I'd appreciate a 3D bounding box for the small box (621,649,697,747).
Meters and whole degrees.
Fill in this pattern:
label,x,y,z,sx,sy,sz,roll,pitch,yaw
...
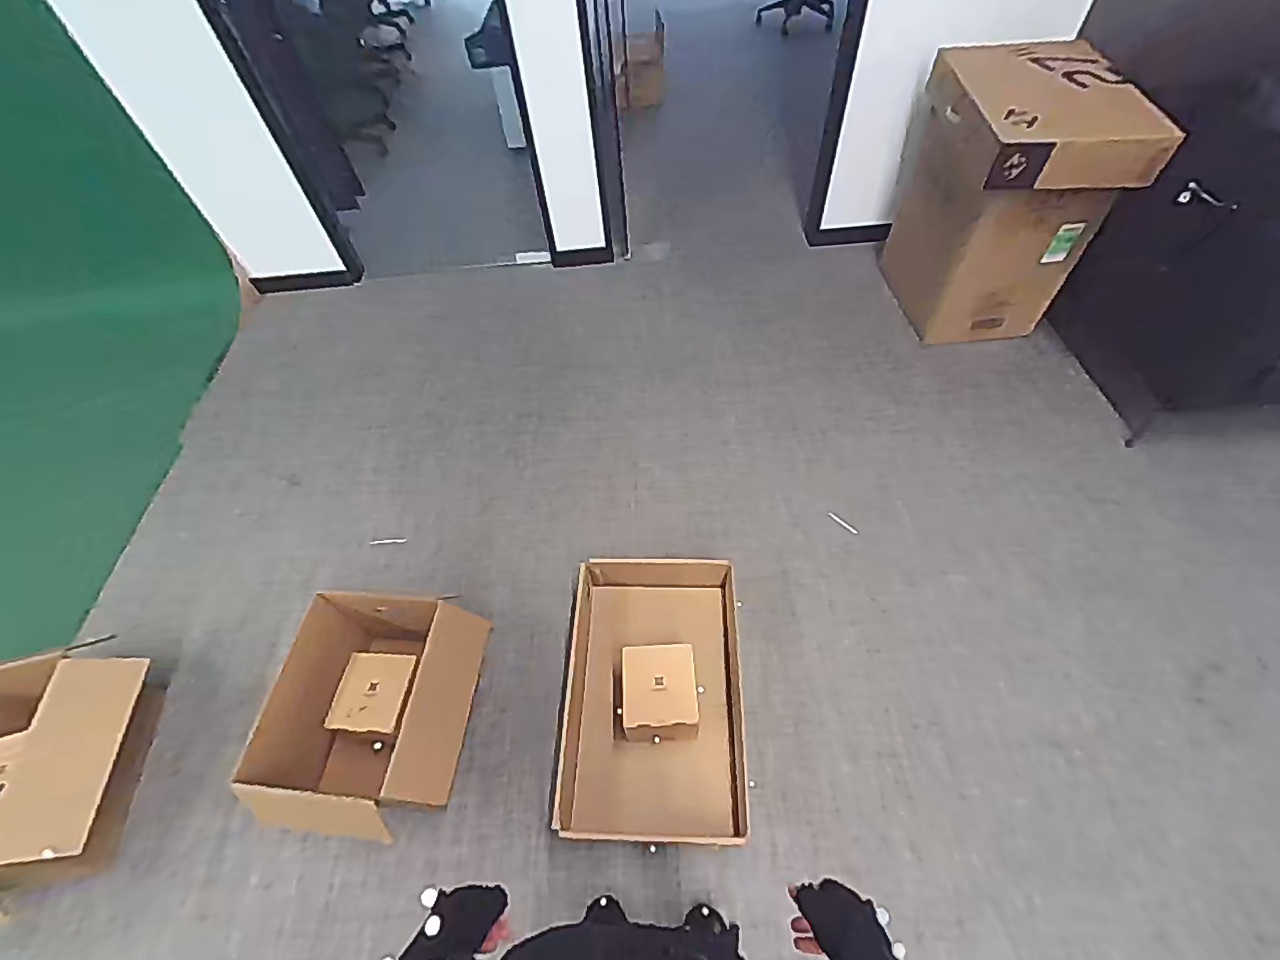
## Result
label,x,y,z,sx,sy,sz,roll,pitch,yaw
small box,0.040,0.511,1.264,0.168,0.176,0.179,-3,54,1
